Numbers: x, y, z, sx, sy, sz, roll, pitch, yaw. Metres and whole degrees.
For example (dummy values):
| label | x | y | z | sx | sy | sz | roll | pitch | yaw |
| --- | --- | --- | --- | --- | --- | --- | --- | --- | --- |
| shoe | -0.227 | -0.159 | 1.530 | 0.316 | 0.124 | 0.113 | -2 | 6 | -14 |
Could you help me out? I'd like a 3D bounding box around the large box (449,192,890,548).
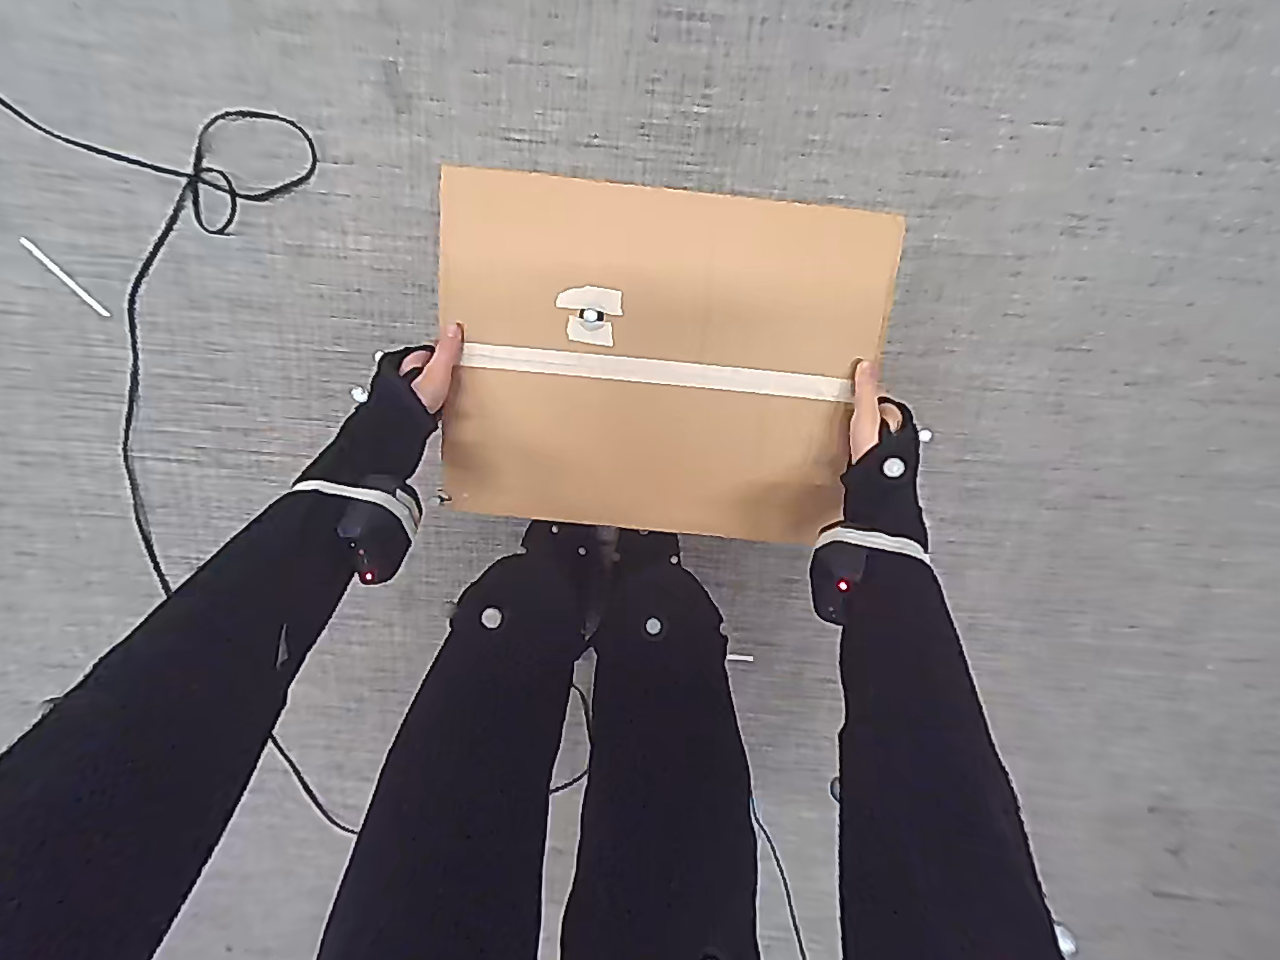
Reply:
| label | x | y | z | sx | sy | sz | roll | pitch | yaw |
| --- | --- | --- | --- | --- | --- | --- | --- | --- | --- |
| large box | 0.020 | -0.133 | 0.663 | 0.408 | 0.320 | 0.320 | 6 | 105 | 0 |
